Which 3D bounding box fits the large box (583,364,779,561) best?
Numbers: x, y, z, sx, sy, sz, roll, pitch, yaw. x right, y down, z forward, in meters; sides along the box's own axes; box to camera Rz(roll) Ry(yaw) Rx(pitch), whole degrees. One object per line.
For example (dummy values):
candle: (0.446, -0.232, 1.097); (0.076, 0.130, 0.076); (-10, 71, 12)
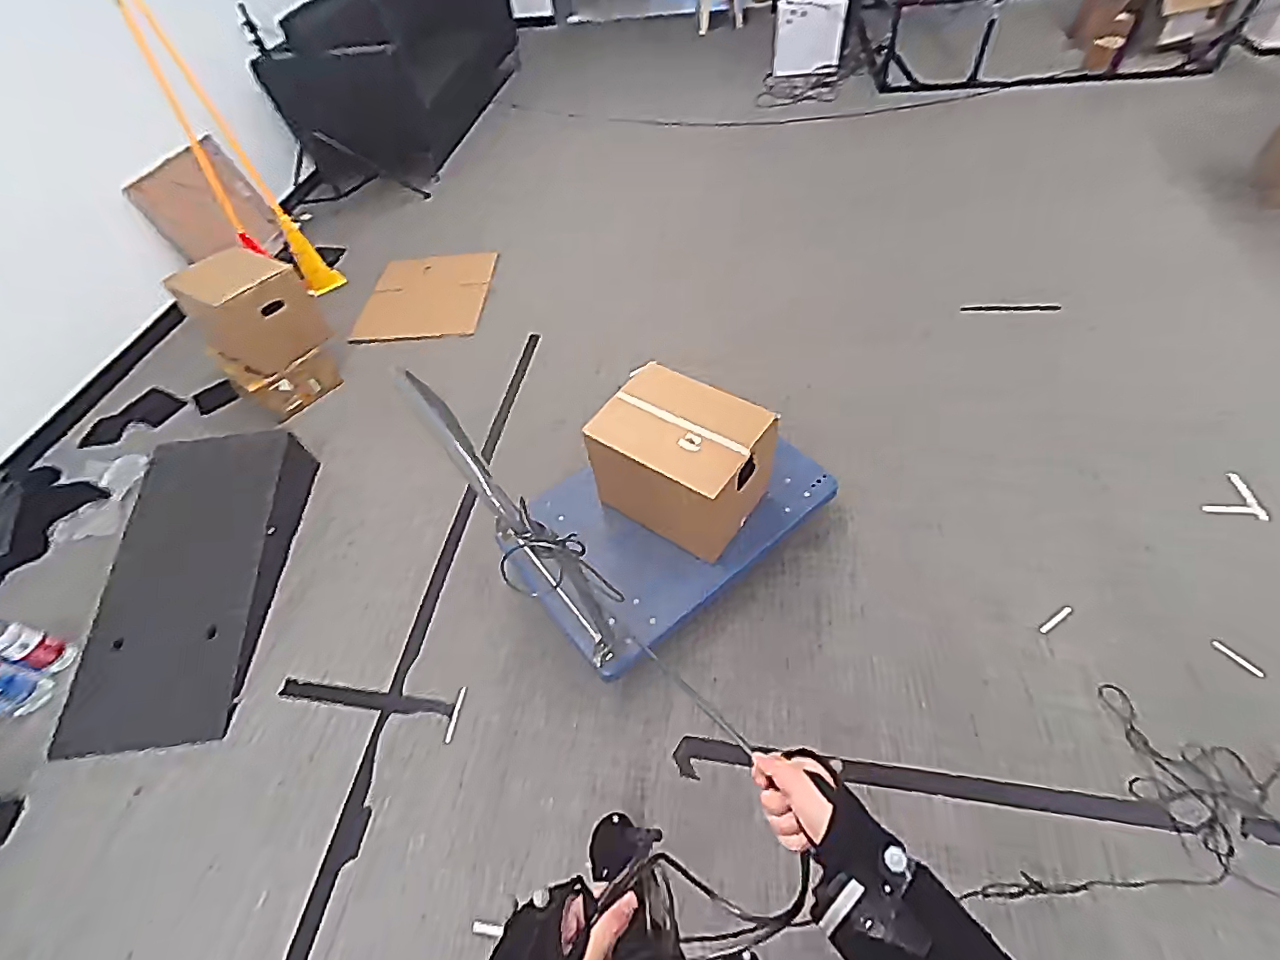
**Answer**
large box: (0.112, -0.051, 1.474); (0.408, 0.320, 0.320); (28, 62, 24)
